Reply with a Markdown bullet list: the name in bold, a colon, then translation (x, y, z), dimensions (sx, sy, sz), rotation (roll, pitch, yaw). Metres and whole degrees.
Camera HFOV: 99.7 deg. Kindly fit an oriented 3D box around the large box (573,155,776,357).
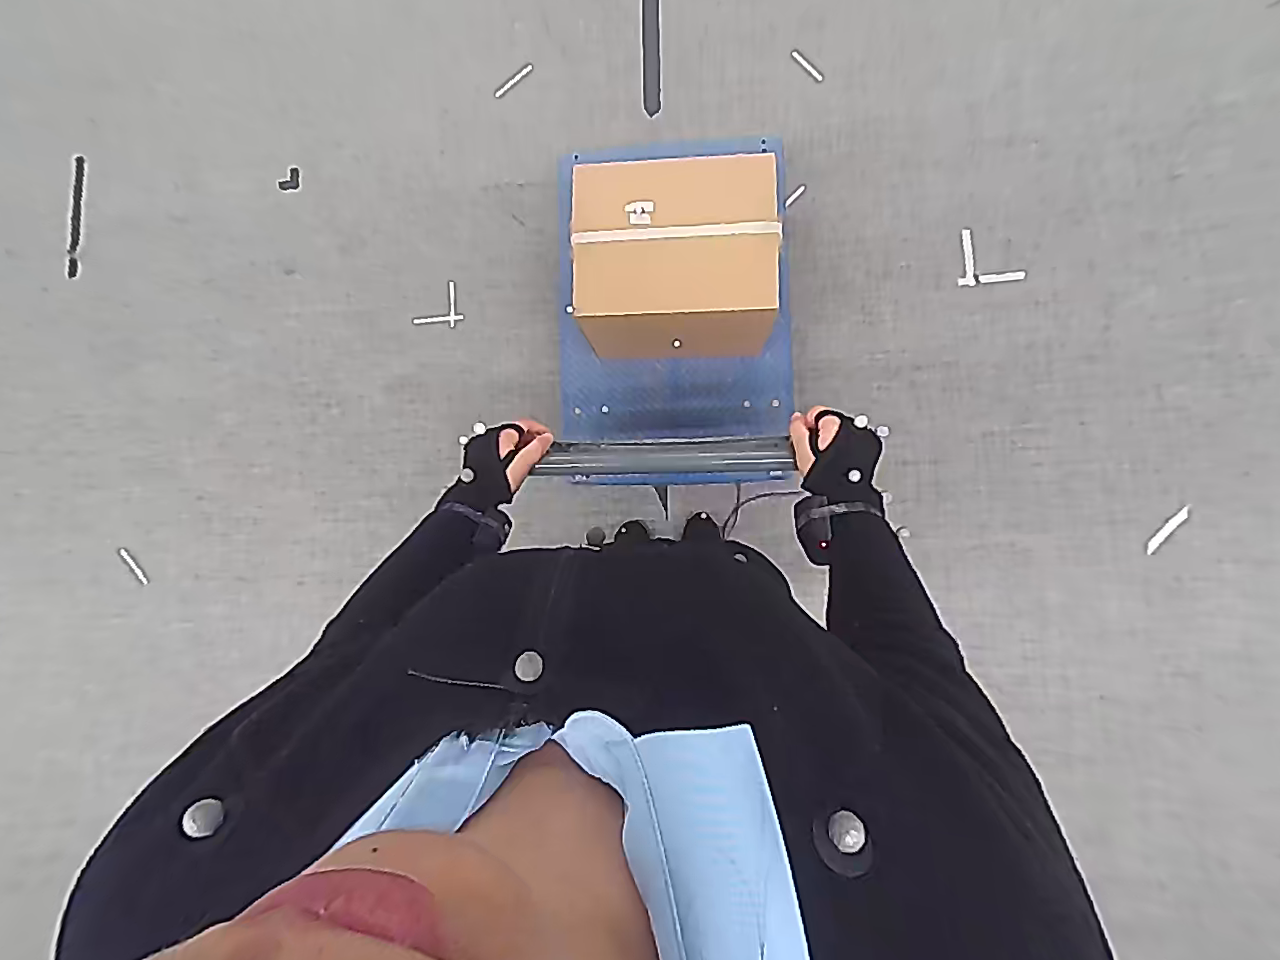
- **large box**: translation (0.081, -0.475, 1.224), dimensions (0.408, 0.320, 0.320), rotation (-1, 86, 6)
